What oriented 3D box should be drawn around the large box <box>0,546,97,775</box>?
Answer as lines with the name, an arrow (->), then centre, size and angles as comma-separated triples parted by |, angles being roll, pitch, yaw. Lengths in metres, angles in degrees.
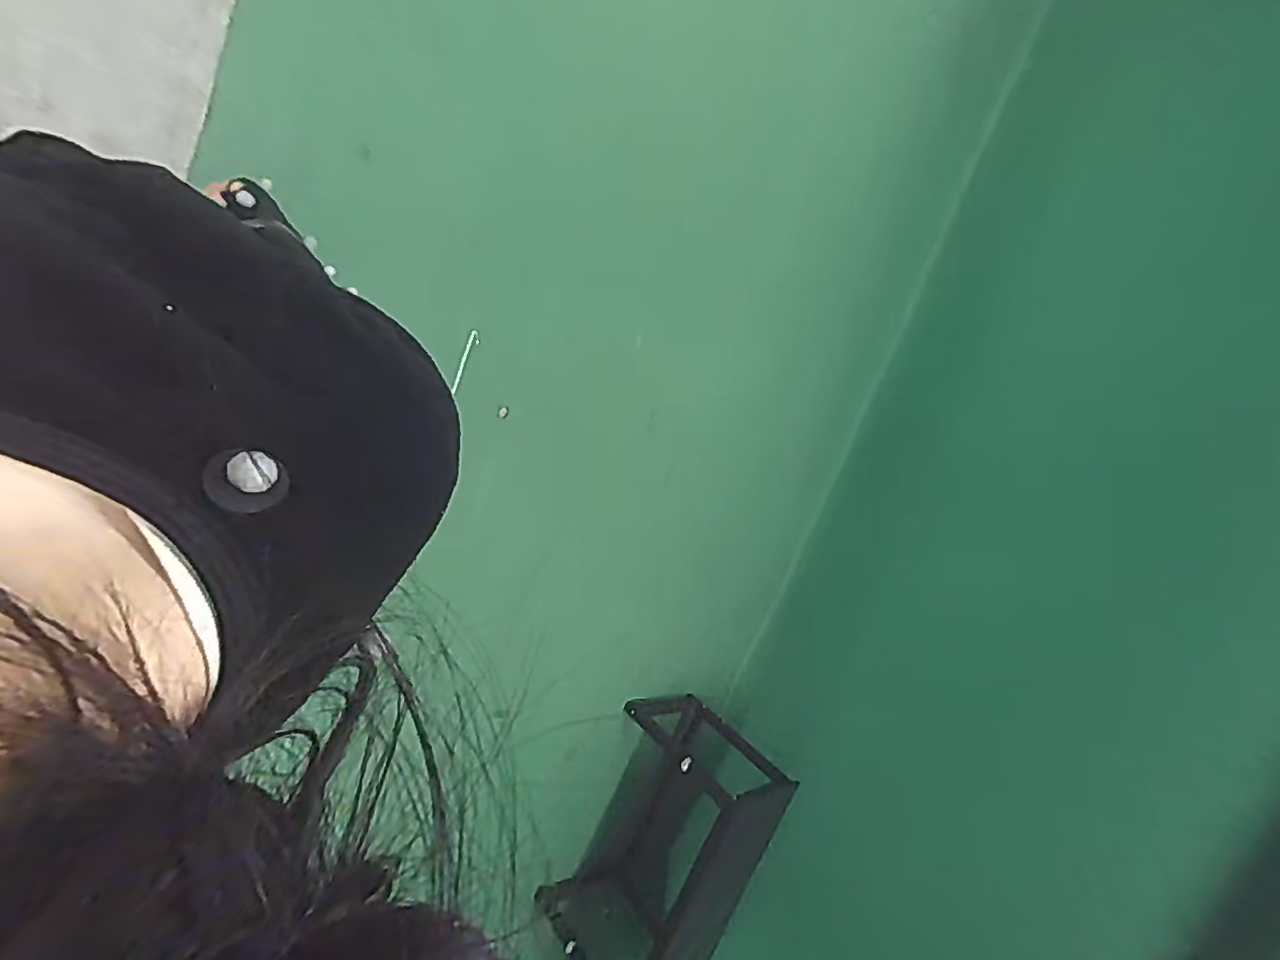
large box -> -1.279, 0.345, 0.972 | 0.408, 0.320, 0.320 | -5, 115, -43
